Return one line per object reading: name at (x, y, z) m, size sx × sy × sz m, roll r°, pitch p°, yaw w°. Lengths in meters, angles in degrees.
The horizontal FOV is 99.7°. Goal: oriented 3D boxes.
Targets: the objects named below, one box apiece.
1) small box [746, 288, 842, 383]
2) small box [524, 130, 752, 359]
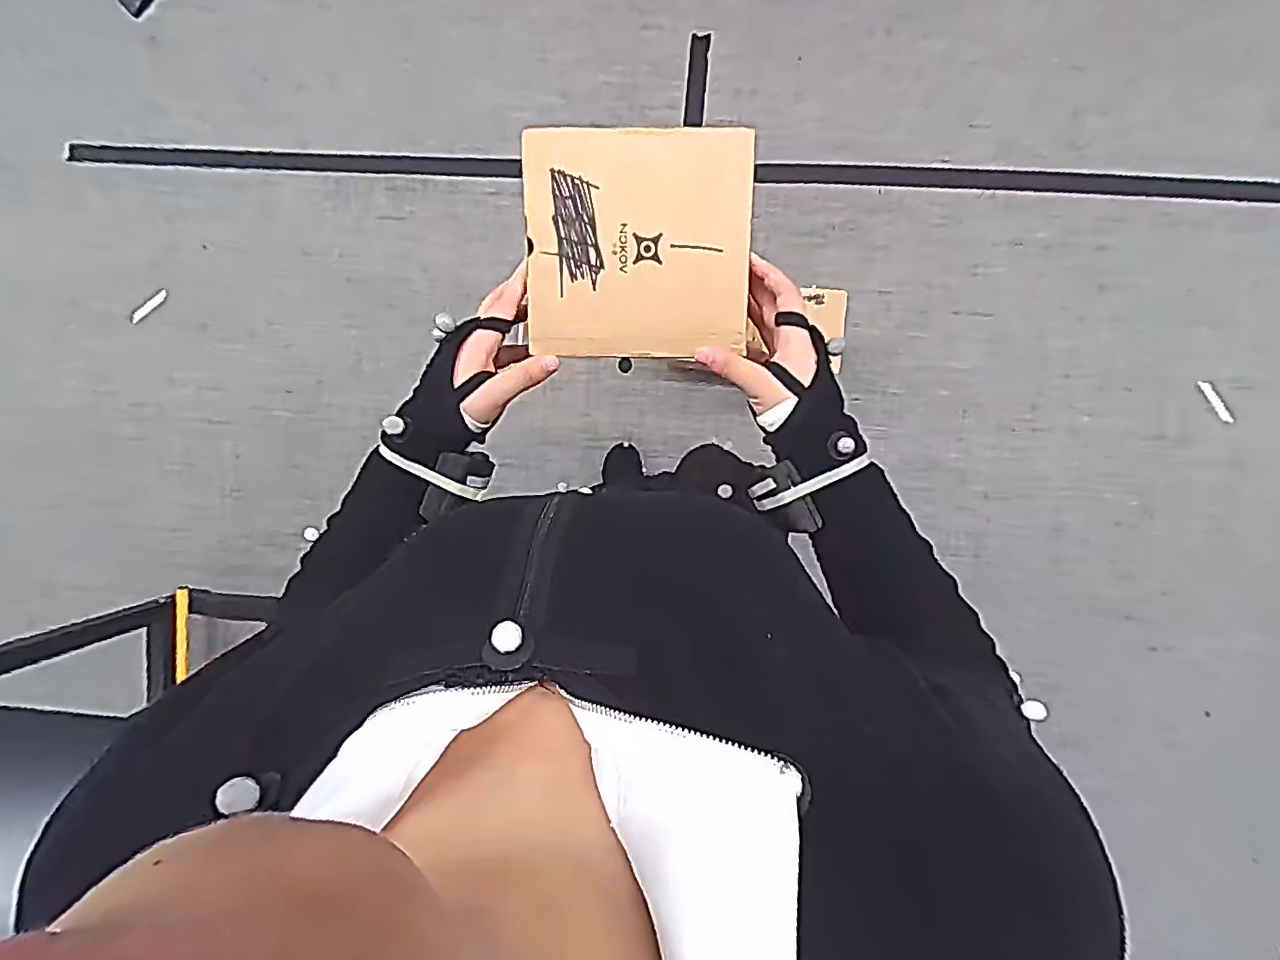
small box at (0.336, -0.315, 1.210) m, size 0.168 × 0.176 × 0.179 m, roll 5°, pitch 95°, yaw 3°
small box at (0.000, -0.200, 0.503) m, size 0.179 × 0.176 × 0.168 m, roll 1°, pitch 102°, yaw 2°
